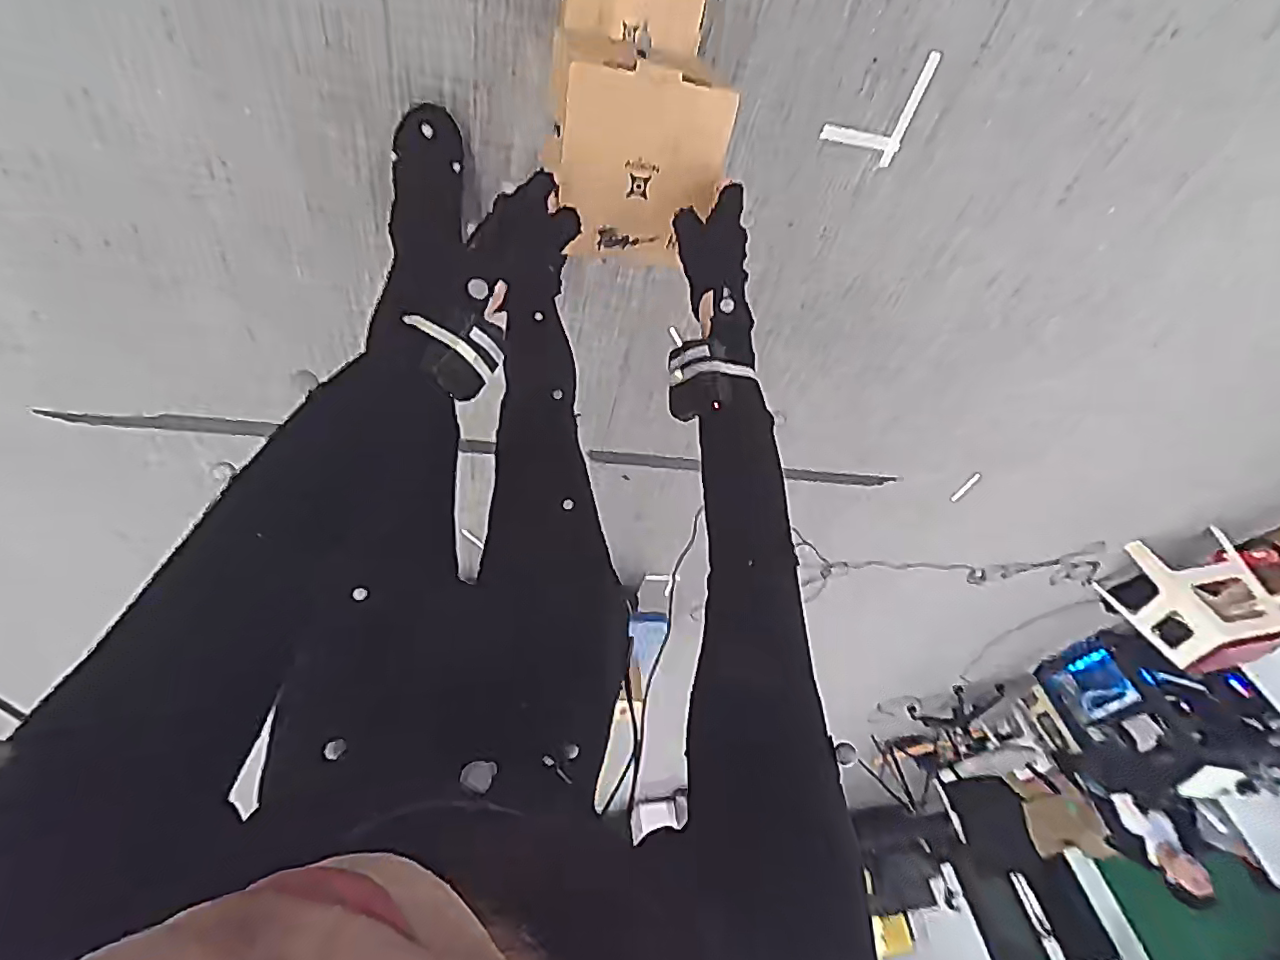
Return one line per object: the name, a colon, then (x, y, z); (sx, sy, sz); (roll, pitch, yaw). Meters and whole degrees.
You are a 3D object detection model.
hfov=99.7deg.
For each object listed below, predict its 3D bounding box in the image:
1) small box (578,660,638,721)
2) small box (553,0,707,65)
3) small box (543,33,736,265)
small box: (-0.125, 0.790, 2.032); (0.179, 0.176, 0.168); (12, 134, -22)
small box: (-0.024, -0.627, 0.751); (0.179, 0.176, 0.168); (3, 136, -14)
small box: (-0.017, -0.368, 0.606); (0.168, 0.176, 0.179); (0, 136, -16)
